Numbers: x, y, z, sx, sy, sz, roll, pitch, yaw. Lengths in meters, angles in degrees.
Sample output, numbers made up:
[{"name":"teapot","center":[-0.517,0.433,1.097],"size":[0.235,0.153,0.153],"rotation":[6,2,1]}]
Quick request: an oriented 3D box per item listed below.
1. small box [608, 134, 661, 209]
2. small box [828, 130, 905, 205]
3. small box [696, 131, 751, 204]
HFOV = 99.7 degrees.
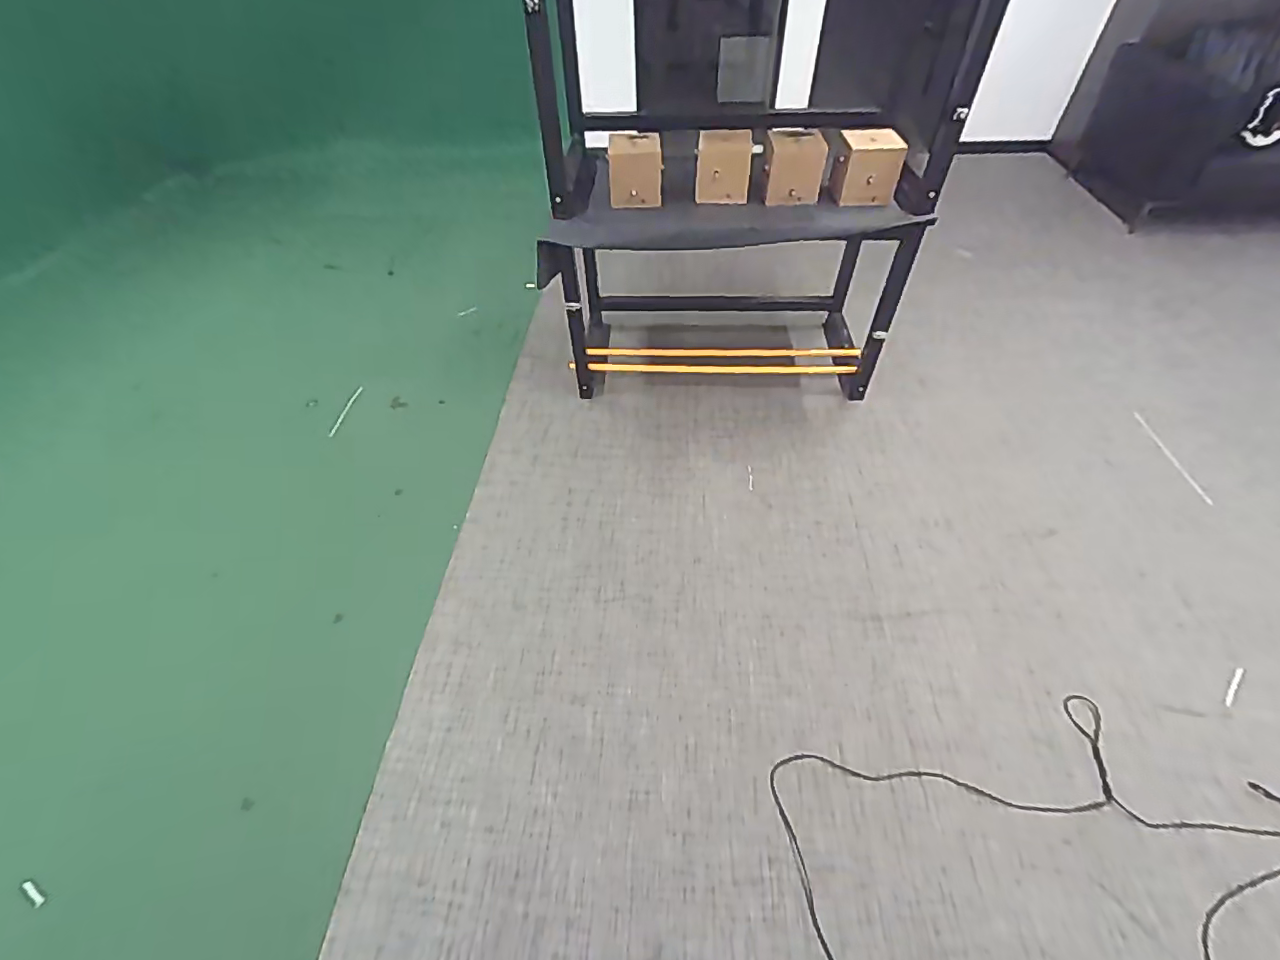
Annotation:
[{"name":"small box","center":[-0.016,-1.009,1.769],"size":[0.168,0.176,0.179],"rotation":[-2,50,0]},{"name":"small box","center":[0.717,-0.995,1.727],"size":[0.168,0.176,0.179],"rotation":[0,48,2]},{"name":"small box","center":[0.272,-1.023,1.774],"size":[0.168,0.176,0.179],"rotation":[4,49,5]}]
